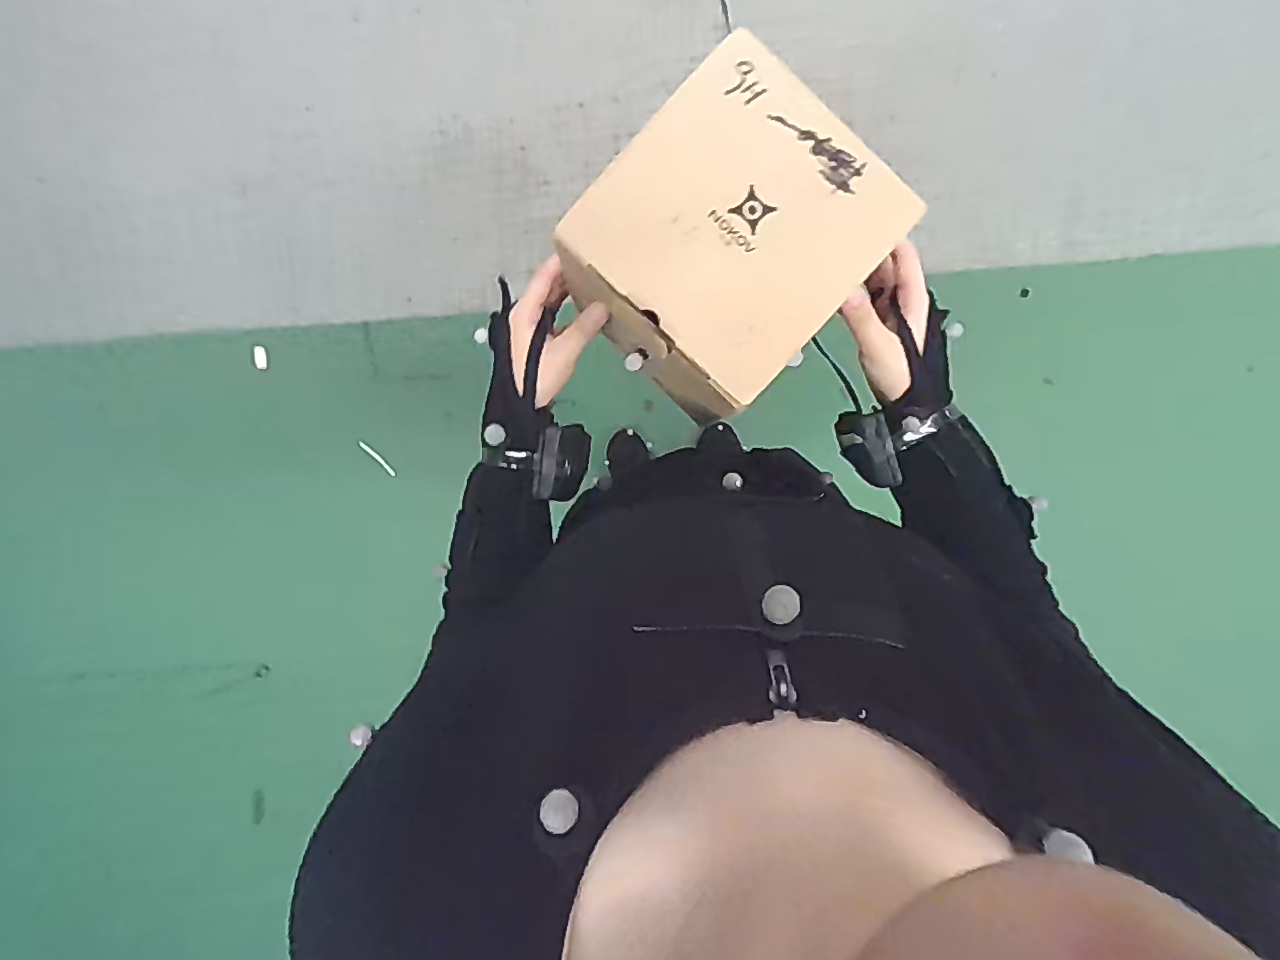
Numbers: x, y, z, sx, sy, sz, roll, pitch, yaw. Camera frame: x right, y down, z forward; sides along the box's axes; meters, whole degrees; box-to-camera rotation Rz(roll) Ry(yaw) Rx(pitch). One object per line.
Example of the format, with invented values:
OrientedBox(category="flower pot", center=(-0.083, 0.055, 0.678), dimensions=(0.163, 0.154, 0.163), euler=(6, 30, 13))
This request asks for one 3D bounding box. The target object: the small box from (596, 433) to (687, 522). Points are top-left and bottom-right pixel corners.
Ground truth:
OrientedBox(category="small box", center=(0.003, -0.006, 1.320), dimensions=(0.179, 0.176, 0.168), euler=(24, 93, 8))
